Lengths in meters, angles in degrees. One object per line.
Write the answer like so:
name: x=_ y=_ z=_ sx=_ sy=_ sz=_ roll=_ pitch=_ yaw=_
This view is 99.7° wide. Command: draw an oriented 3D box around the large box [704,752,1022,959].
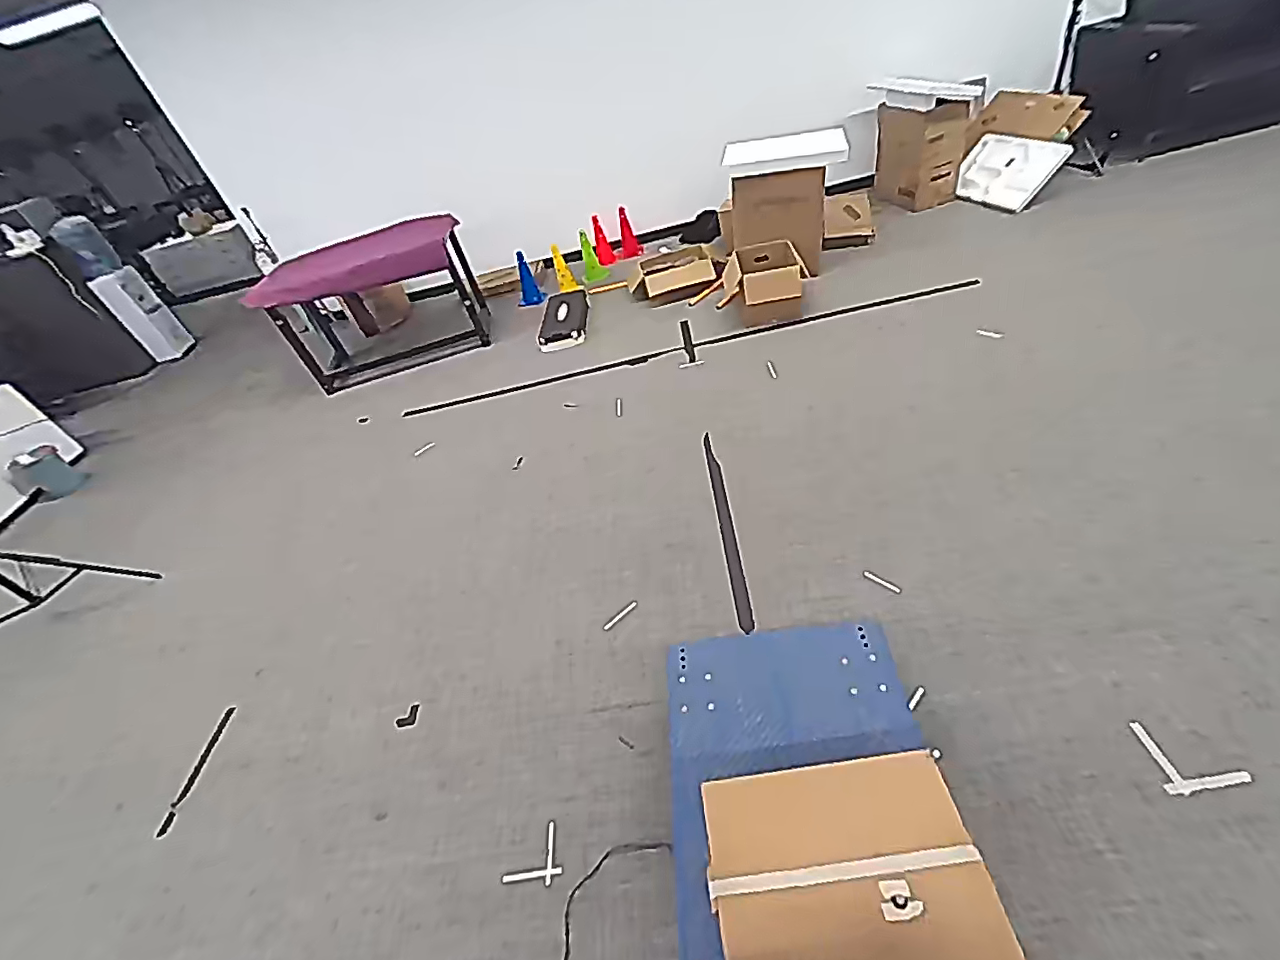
large box: x=0.348 y=0.726 z=0.942 sx=0.408 sy=0.320 sz=0.320 roll=-11 pitch=41 yaw=5
